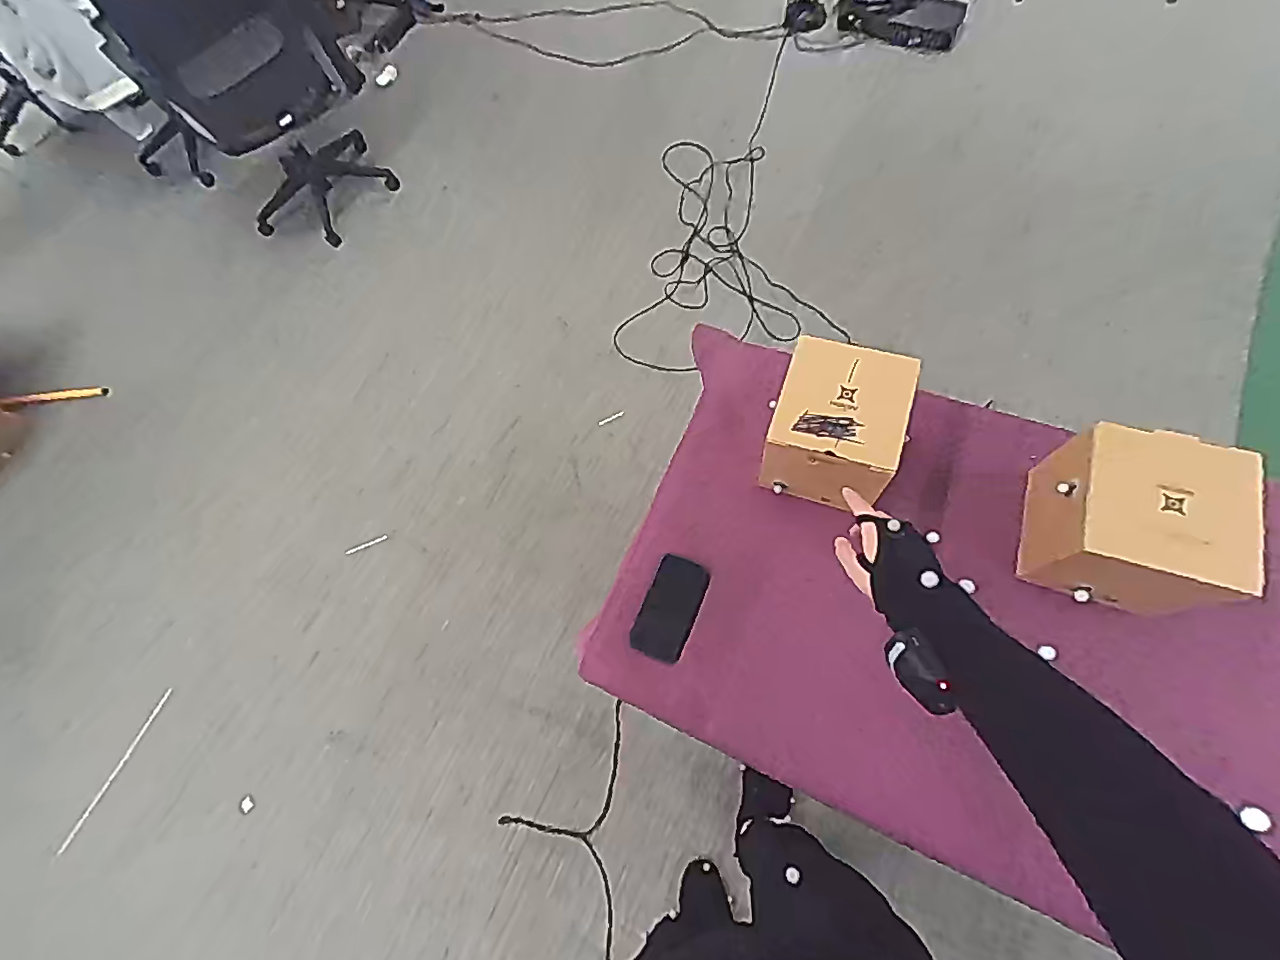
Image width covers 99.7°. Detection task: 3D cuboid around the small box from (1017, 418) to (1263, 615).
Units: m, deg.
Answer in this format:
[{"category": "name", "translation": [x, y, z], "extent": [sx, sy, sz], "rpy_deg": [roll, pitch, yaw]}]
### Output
[{"category": "small box", "translation": [0.612, 0.052, 0.683], "extent": [0.168, 0.176, 0.179], "rpy_deg": [17, 72, 16]}]

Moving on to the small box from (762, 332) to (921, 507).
[{"category": "small box", "translation": [0.281, -0.079, 0.786], "extent": [0.168, 0.176, 0.179], "rpy_deg": [17, 71, 15]}]
